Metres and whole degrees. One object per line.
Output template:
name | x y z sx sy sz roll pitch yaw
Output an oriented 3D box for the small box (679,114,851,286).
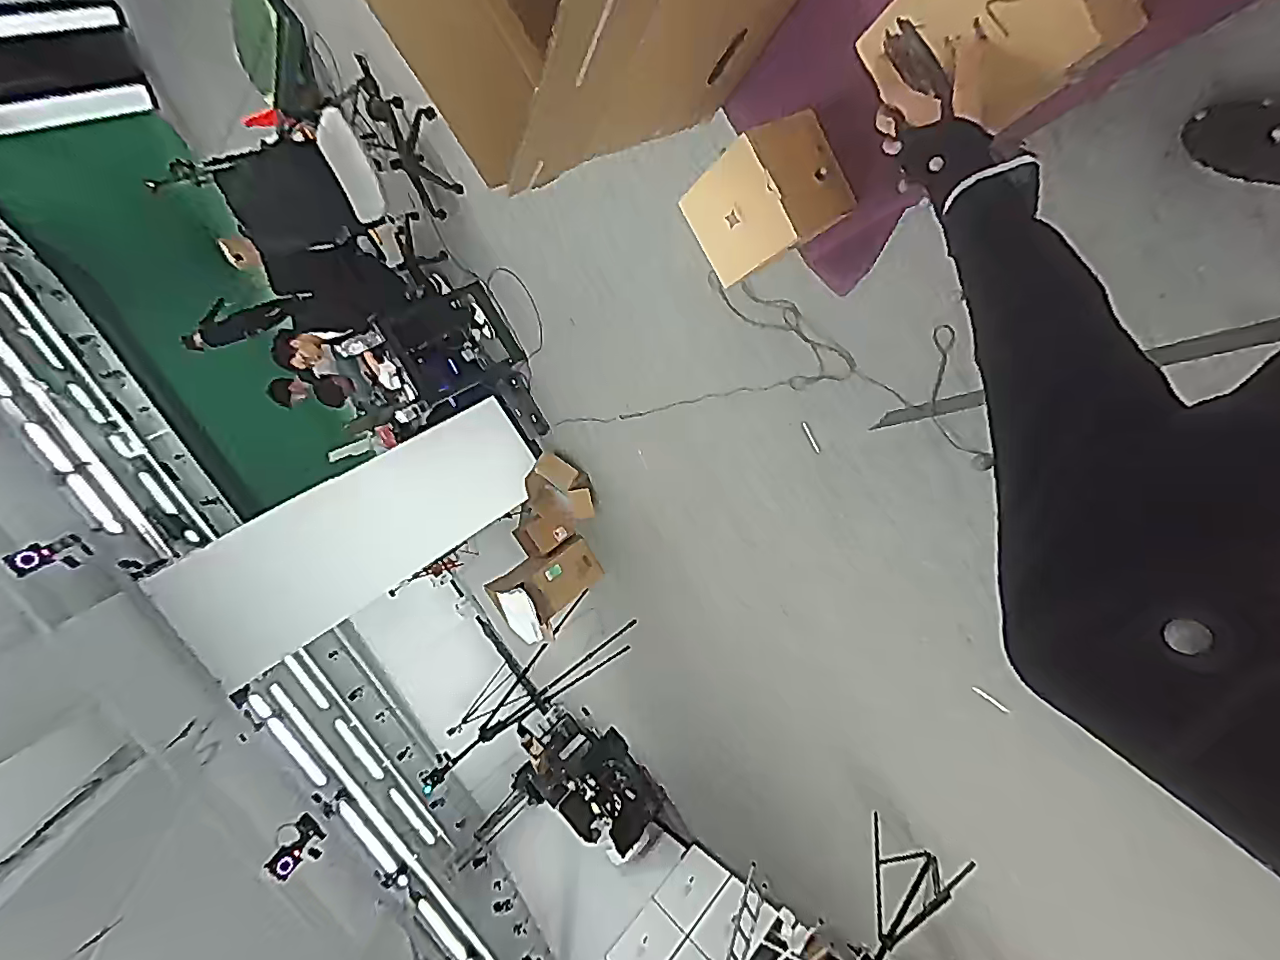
small box | 0.203 -0.450 0.878 0.168 0.176 0.179 59 150 -9
